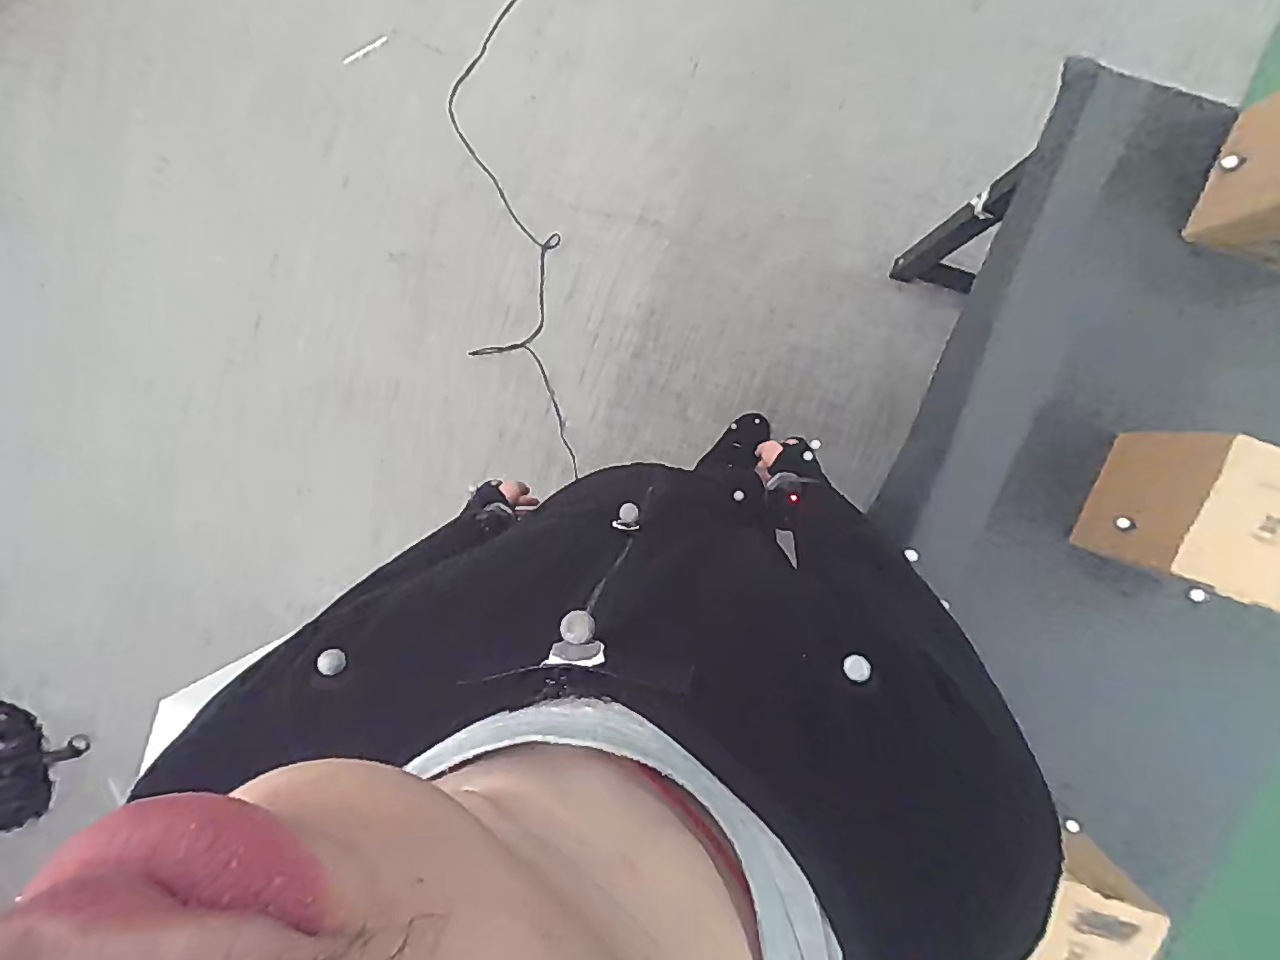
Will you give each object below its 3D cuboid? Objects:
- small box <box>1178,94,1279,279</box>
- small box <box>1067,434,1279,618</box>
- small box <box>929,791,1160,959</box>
[{"bbox_3d":[0.839,-0.372,0.665,0.168,0.176,0.179,20,97,0],"label":"small box"},{"bbox_3d":[0.719,0.049,0.710,0.168,0.176,0.179,20,94,-1],"label":"small box"},{"bbox_3d":[0.546,0.585,0.760,0.168,0.176,0.179,22,96,0],"label":"small box"}]
